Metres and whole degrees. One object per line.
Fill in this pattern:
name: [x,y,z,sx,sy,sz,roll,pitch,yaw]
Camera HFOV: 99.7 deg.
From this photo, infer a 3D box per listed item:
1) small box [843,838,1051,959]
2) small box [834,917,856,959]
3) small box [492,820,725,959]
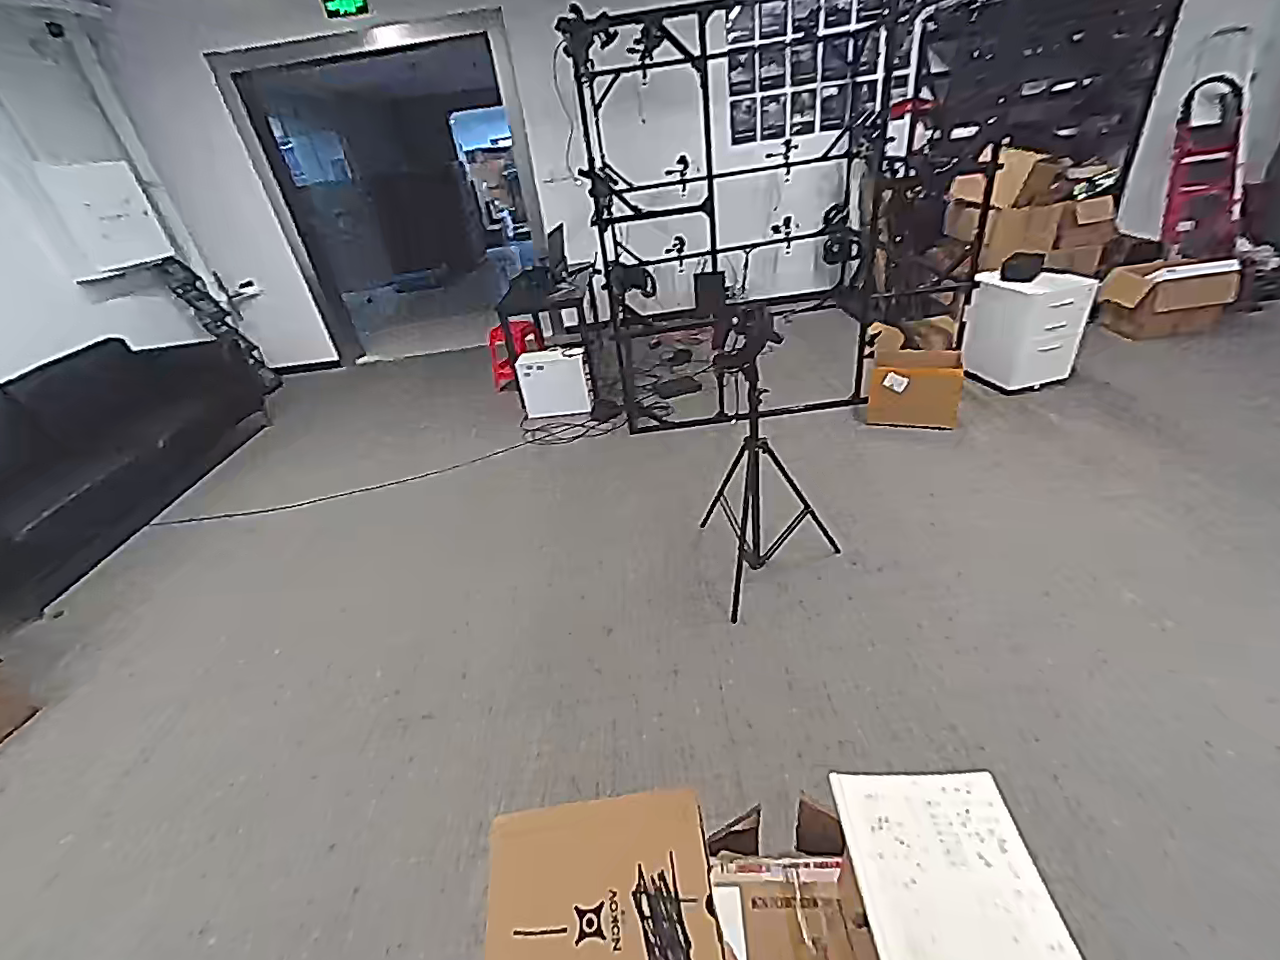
small box: [0.348,0.551,0.624,0.168,0.176,0.179,-5,33,2]
small box: [0.366,0.692,0.705,0.179,0.176,0.168,-7,33,0]
small box: [-0.019,0.409,0.461,0.179,0.176,0.168,-8,48,-1]
